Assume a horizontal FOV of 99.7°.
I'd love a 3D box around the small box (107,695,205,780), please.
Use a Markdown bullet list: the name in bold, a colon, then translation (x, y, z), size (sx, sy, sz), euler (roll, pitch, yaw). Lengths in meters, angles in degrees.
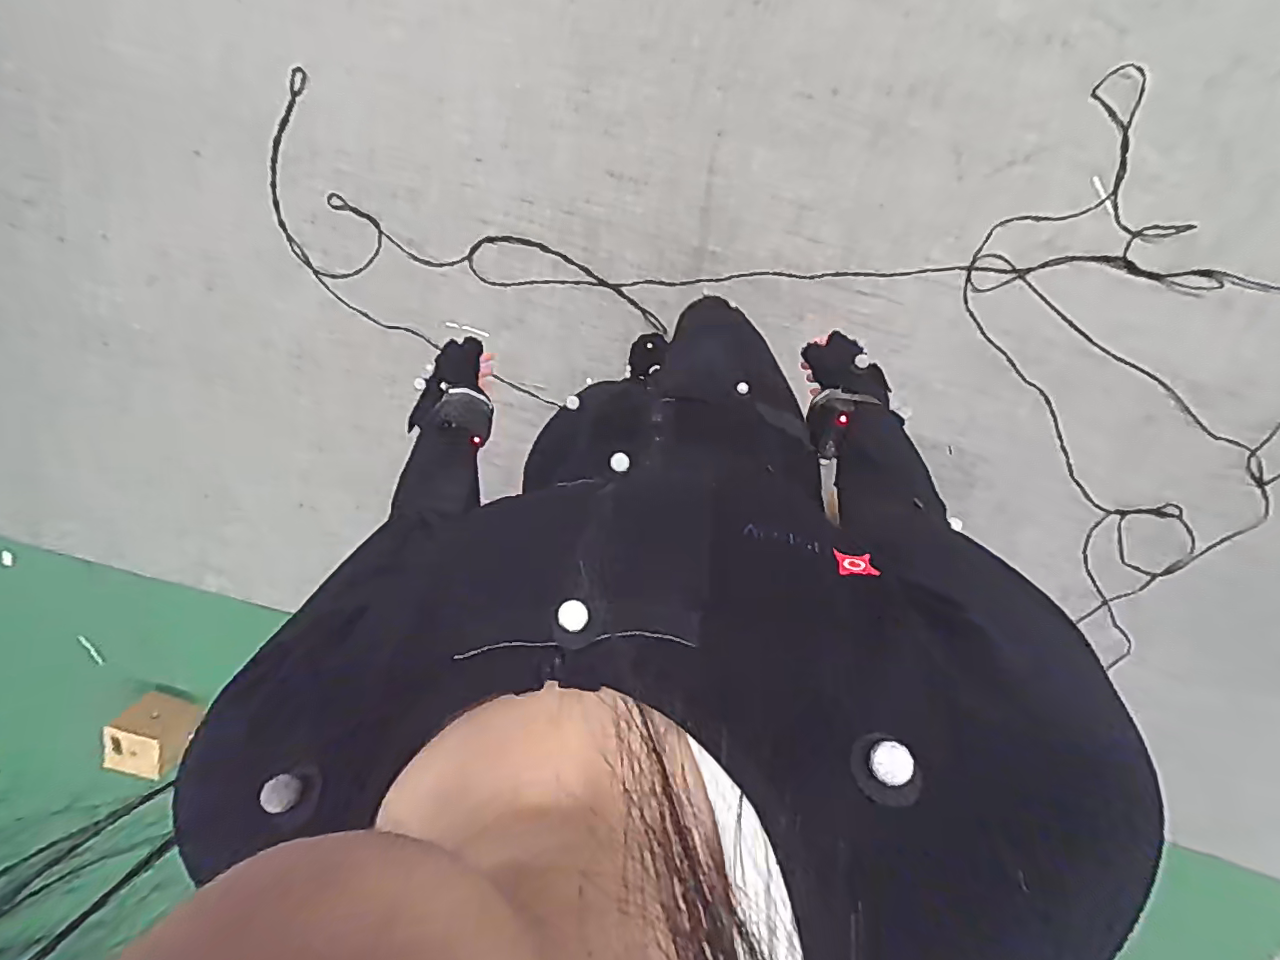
- **small box**: translation (-1.581, 0.836, 1.771), size (0.179, 0.176, 0.168), euler (16, 107, -2)
